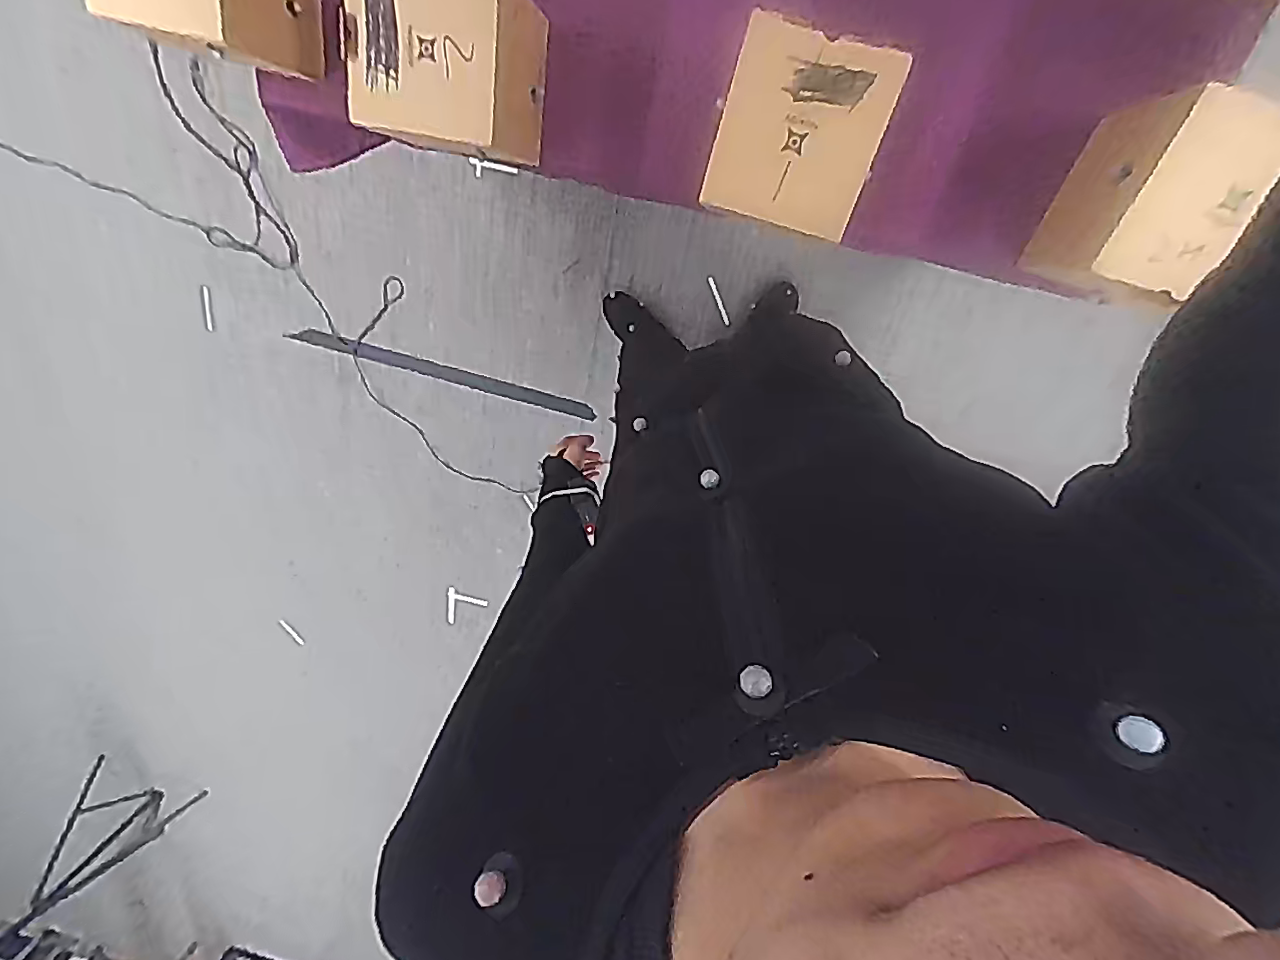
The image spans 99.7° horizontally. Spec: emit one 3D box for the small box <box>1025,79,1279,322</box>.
[{"bbox_3d":[0.582,-0.296,0.601,0.168,0.176,0.179,21,115,2],"label":"small box"}]

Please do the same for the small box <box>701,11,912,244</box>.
[{"bbox_3d":[0.178,-0.391,0.634,0.168,0.176,0.179,18,116,2],"label":"small box"}]

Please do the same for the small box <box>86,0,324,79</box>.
[{"bbox_3d":[-0.523,-0.618,0.658,0.179,0.176,0.168,13,115,3],"label":"small box"}]
